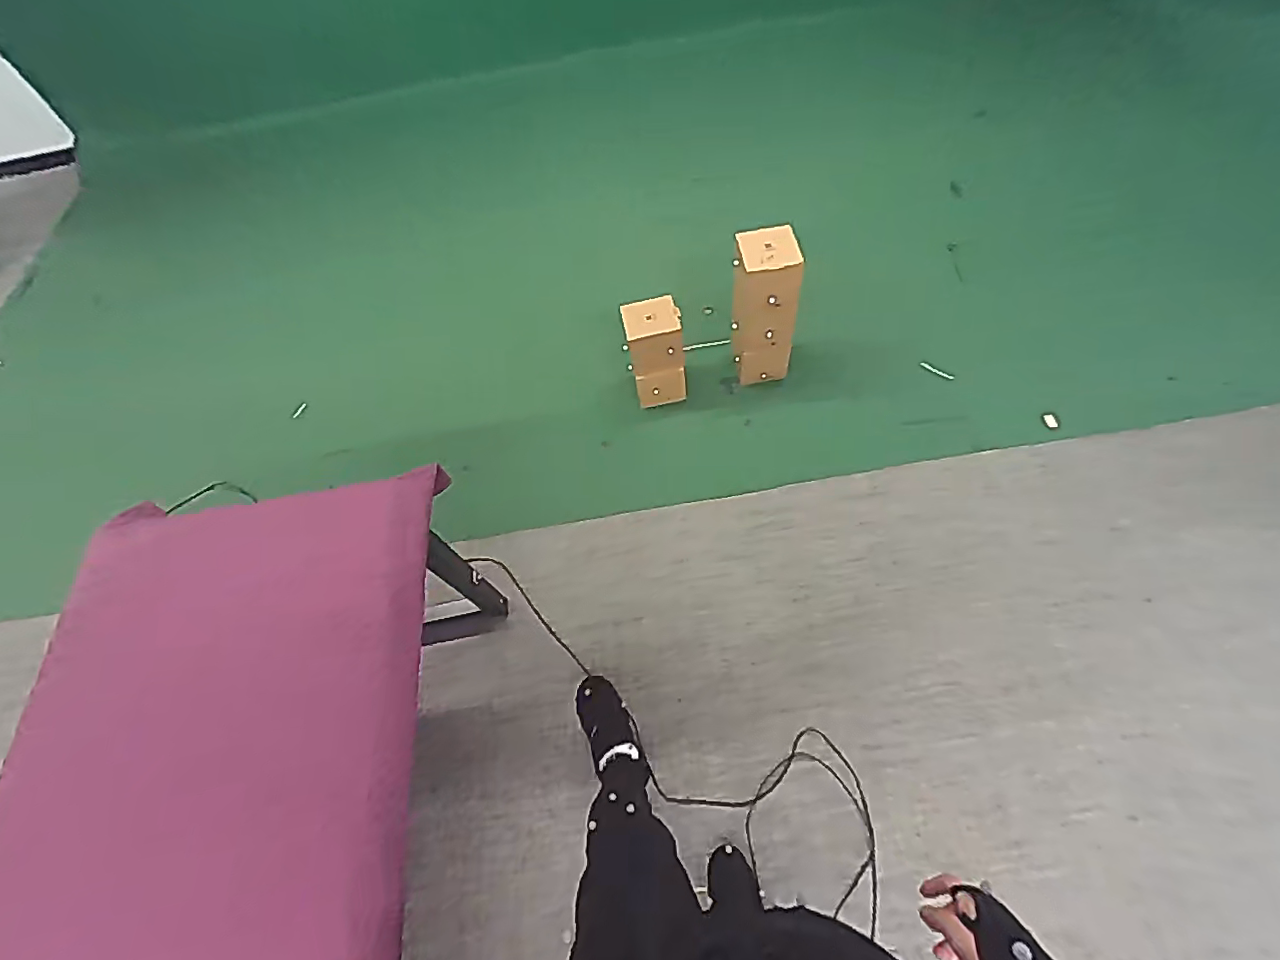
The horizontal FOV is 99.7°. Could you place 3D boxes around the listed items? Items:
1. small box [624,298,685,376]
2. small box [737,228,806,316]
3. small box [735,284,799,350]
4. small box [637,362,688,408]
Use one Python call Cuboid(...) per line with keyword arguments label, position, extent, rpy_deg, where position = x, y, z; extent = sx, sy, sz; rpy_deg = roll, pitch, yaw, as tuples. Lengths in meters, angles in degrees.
Cuboid(label="small box", position=(0.052, -0.470, 1.791), extent=(0.179, 0.176, 0.168), rpy_deg=(-12, 58, 1))
Cuboid(label="small box", position=(0.390, -0.628, 1.640), extent=(0.168, 0.176, 0.179), rpy_deg=(-8, 61, 3))
Cuboid(label="small box", position=(0.413, -0.547, 1.781), extent=(0.168, 0.176, 0.179), rpy_deg=(-9, 61, 2))
Cuboid(label="small box", position=(0.074, -0.376, 1.922), extent=(0.168, 0.176, 0.179), rpy_deg=(-12, 59, 1))
